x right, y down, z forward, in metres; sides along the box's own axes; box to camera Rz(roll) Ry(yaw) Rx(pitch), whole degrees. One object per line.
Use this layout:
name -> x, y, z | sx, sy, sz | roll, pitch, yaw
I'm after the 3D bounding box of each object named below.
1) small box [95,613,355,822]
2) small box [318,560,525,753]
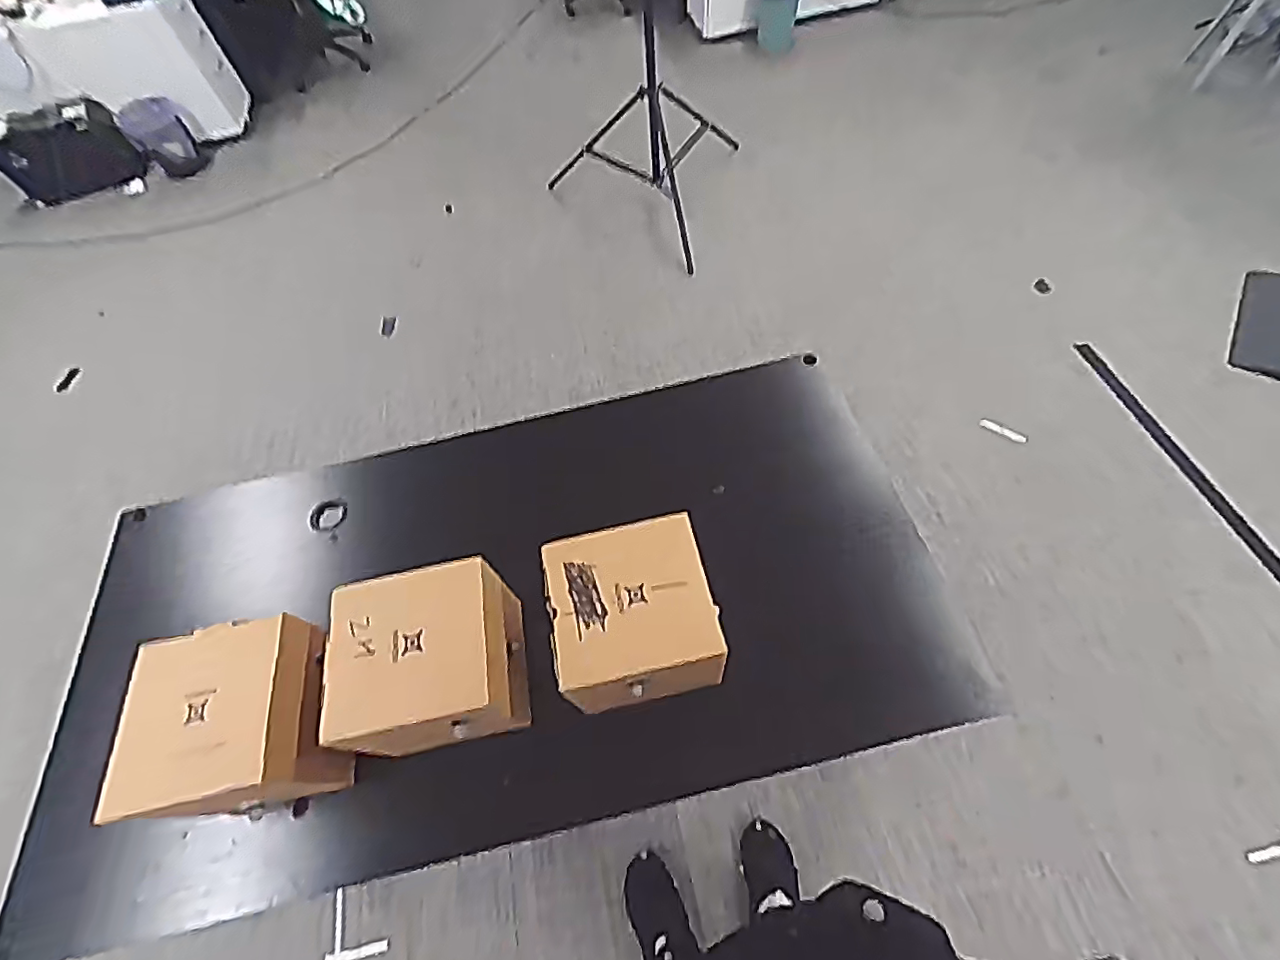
small box -> -0.452, 0.278, 0.630 | 0.168, 0.176, 0.179 | -14, 60, -1
small box -> -0.242, 0.215, 0.643 | 0.179, 0.176, 0.168 | -13, 59, -1
